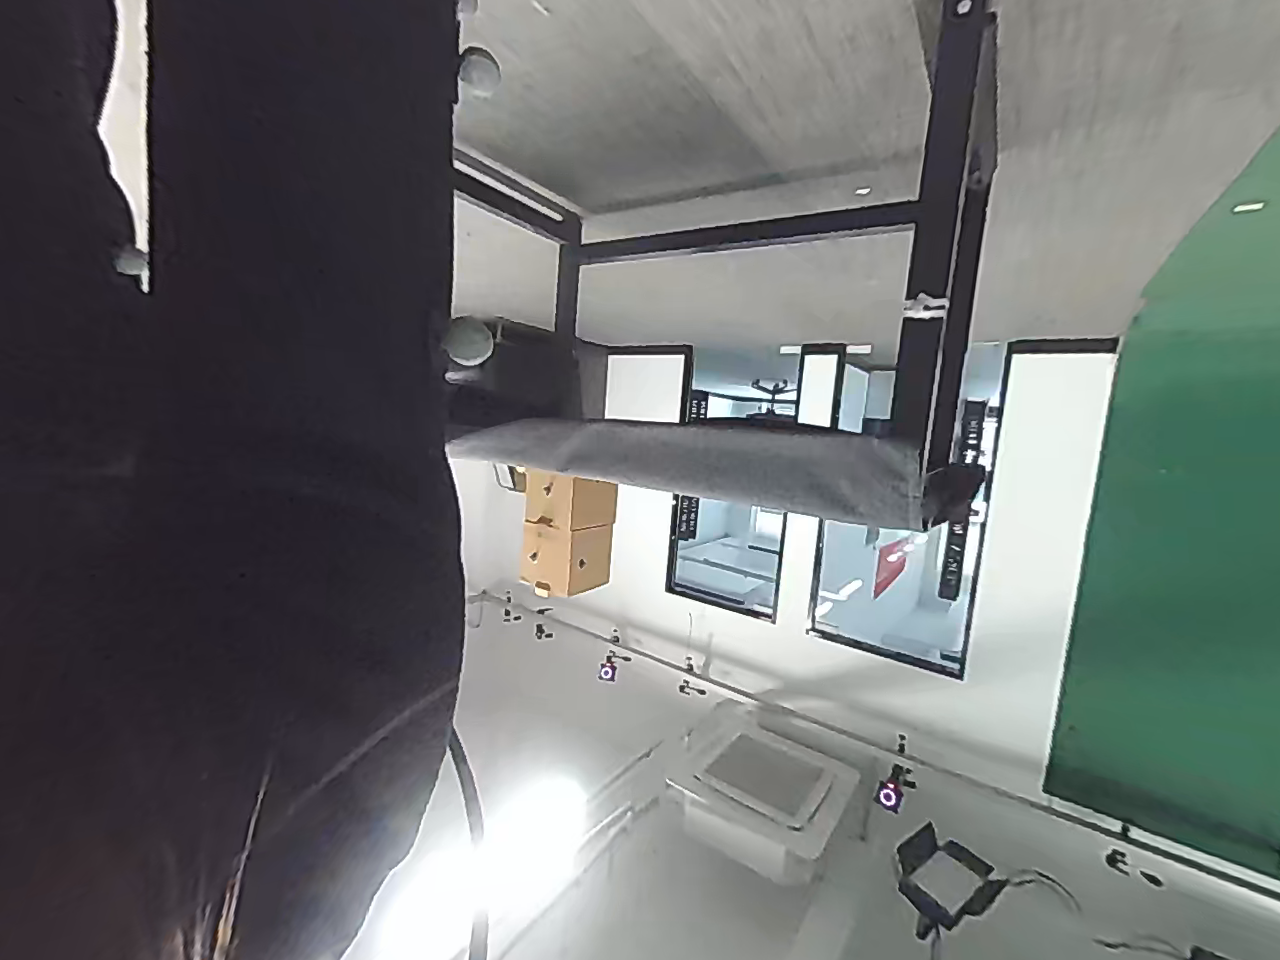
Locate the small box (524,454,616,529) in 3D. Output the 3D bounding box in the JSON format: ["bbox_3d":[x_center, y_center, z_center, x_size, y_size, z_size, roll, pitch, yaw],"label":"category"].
[{"bbox_3d":[-0.178,0.022,1.387,0.168,0.176,0.179,9,-172,36],"label":"small box"}]

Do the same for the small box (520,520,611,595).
[{"bbox_3d":[-0.193,0.183,1.409,0.168,0.176,0.179,9,-171,32],"label":"small box"}]
